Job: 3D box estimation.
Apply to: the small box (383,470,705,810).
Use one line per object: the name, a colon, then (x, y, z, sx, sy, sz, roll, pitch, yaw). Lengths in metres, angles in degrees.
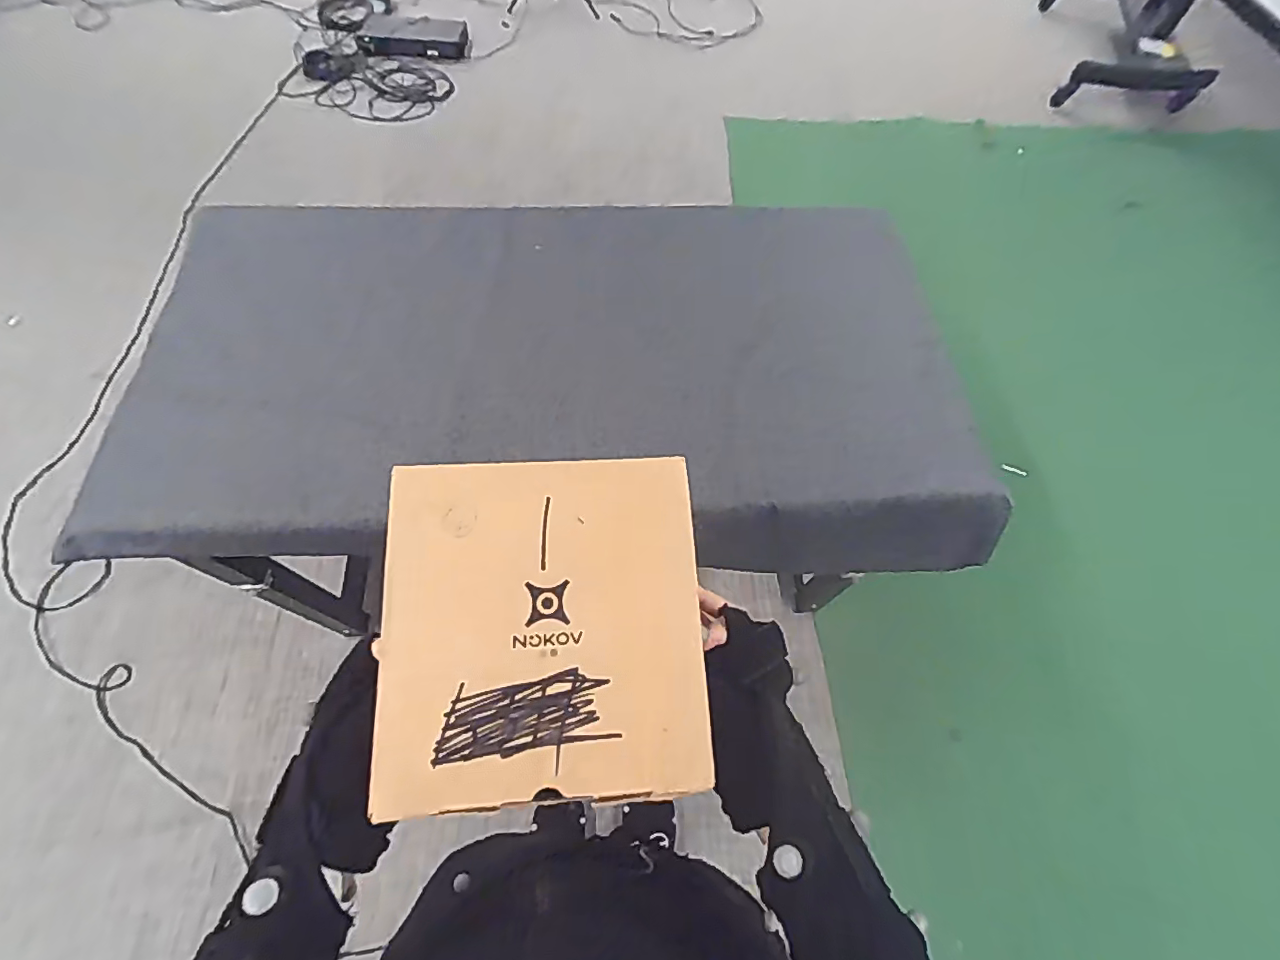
small box: (-0.054, 0.099, 0.370, 0.168, 0.176, 0.179, -1, 74, -5)
